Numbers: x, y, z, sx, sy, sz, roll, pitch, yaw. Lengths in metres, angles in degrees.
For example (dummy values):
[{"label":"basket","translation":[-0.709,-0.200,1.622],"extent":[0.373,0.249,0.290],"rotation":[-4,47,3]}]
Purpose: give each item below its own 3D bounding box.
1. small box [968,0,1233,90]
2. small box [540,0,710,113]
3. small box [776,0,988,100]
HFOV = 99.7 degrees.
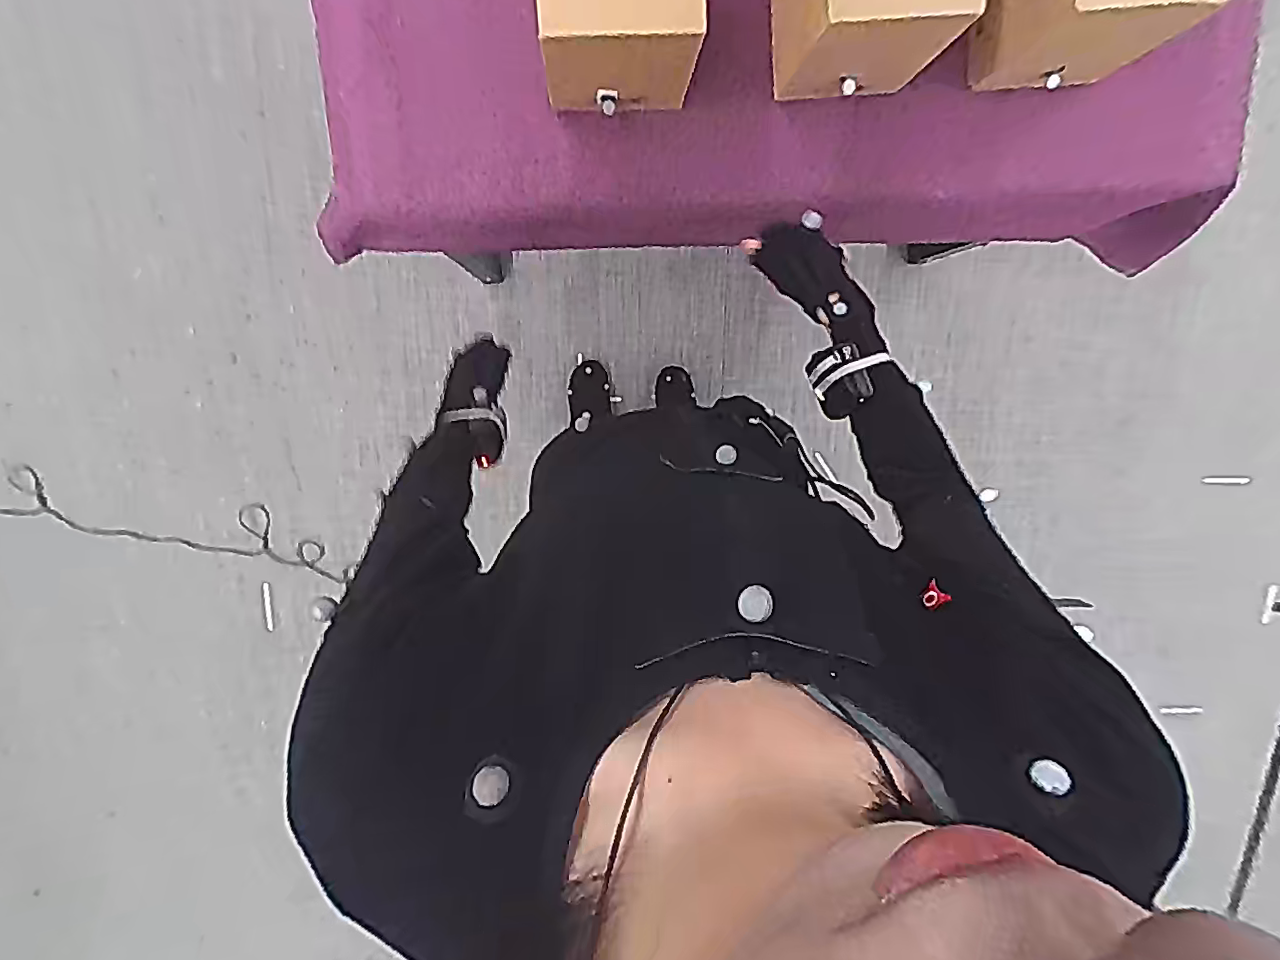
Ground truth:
[{"label":"small box","translation":[0.517,-0.579,0.617],"extent":[0.179,0.176,0.168],"rotation":[-6,102,-4]},{"label":"small box","translation":[-0.023,-0.532,0.583],"extent":[0.168,0.176,0.179],"rotation":[-4,103,-3]},{"label":"small box","translation":[0.254,-0.560,0.599],"extent":[0.168,0.176,0.179],"rotation":[-6,102,-3]}]
